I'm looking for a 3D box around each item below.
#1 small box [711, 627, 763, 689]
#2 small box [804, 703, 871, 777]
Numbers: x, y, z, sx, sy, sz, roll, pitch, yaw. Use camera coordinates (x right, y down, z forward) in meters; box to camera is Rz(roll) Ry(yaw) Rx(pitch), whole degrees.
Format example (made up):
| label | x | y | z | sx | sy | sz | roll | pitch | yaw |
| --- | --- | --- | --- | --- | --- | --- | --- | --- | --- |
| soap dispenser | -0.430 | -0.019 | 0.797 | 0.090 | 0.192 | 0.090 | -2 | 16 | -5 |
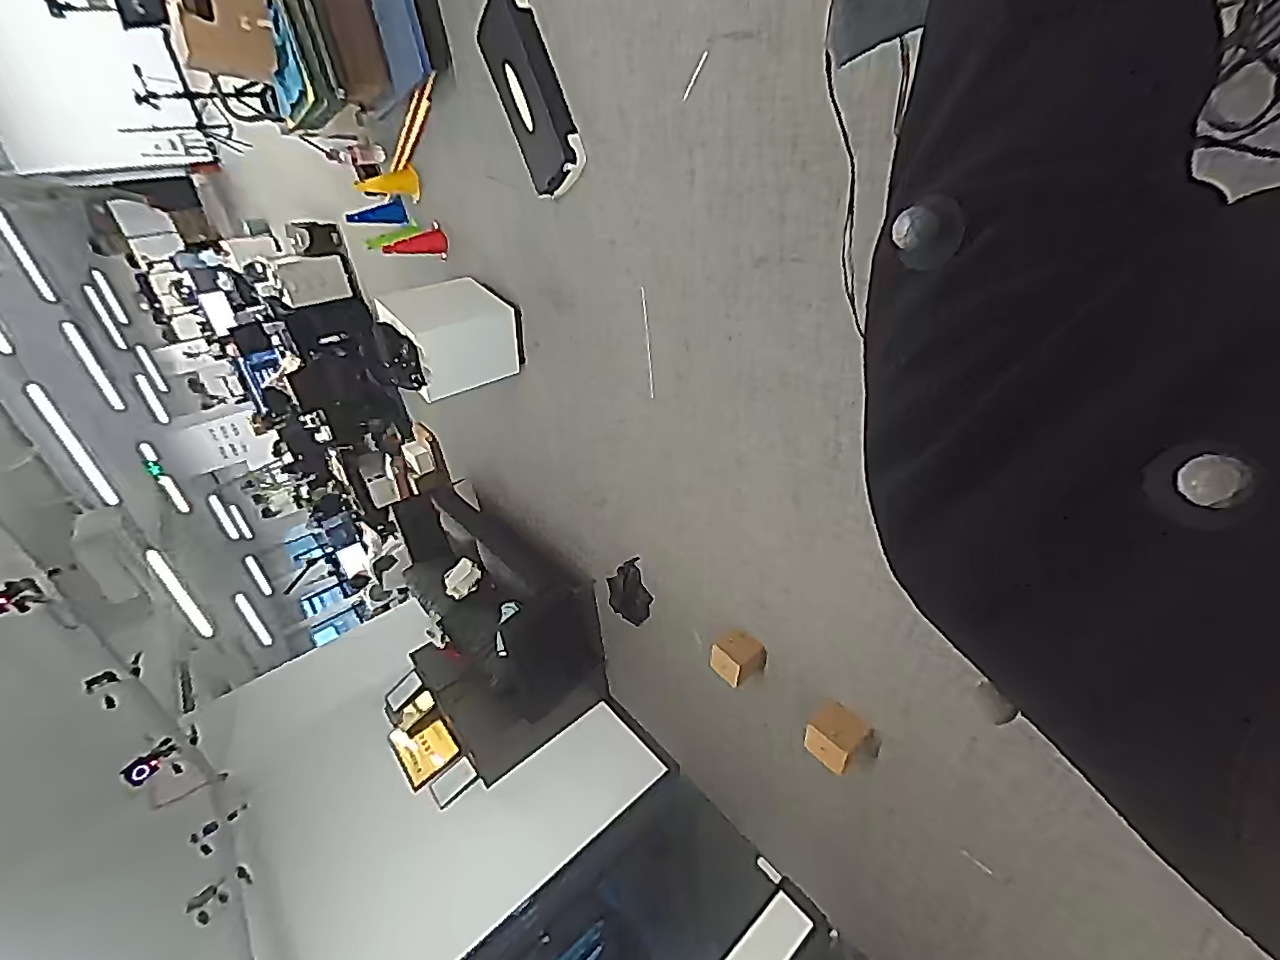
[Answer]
| label | x | y | z | sx | sy | sz | roll | pitch | yaw |
| --- | --- | --- | --- | --- | --- | --- | --- | --- | --- |
| small box | 0.451 | 0.817 | 2.501 | 0.168 | 0.176 | 0.179 | 36 | 141 | 39 |
| small box | 0.786 | 1.026 | 2.157 | 0.179 | 0.176 | 0.168 | 31 | 136 | 41 |
